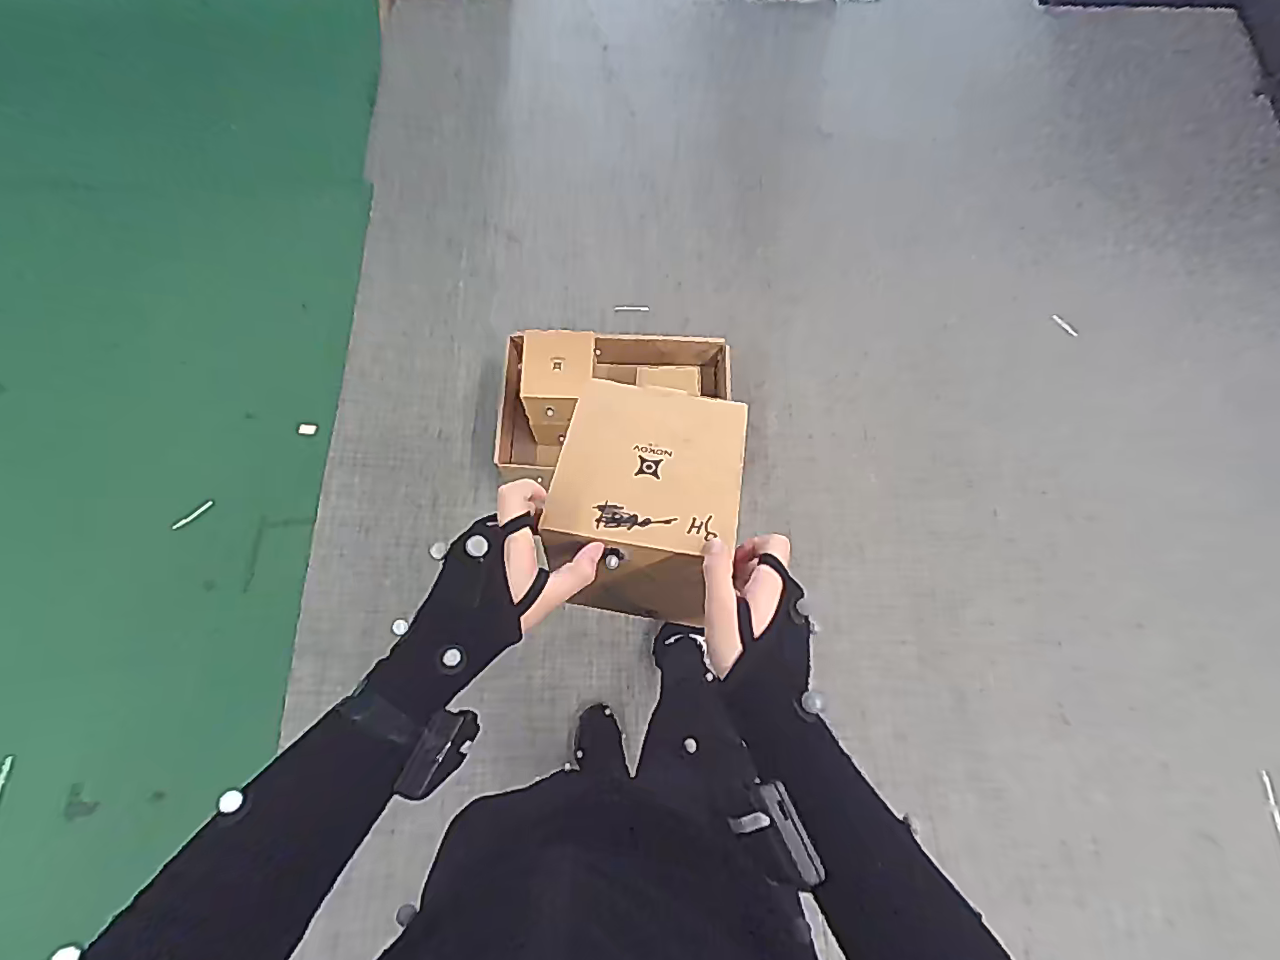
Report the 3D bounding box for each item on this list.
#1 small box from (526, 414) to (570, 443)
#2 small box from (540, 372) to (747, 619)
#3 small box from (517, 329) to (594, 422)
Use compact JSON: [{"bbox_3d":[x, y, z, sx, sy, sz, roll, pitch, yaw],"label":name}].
[{"bbox_3d":[-0.211,-0.203,1.484,0.168,0.176,0.179,2,73,-3],"label":"small box"},{"bbox_3d":[0.006,0.020,0.555,0.168,0.176,0.179,10,57,4],"label":"small box"},{"bbox_3d":[-0.199,-0.249,1.328,0.168,0.176,0.179,1,73,-2],"label":"small box"}]
